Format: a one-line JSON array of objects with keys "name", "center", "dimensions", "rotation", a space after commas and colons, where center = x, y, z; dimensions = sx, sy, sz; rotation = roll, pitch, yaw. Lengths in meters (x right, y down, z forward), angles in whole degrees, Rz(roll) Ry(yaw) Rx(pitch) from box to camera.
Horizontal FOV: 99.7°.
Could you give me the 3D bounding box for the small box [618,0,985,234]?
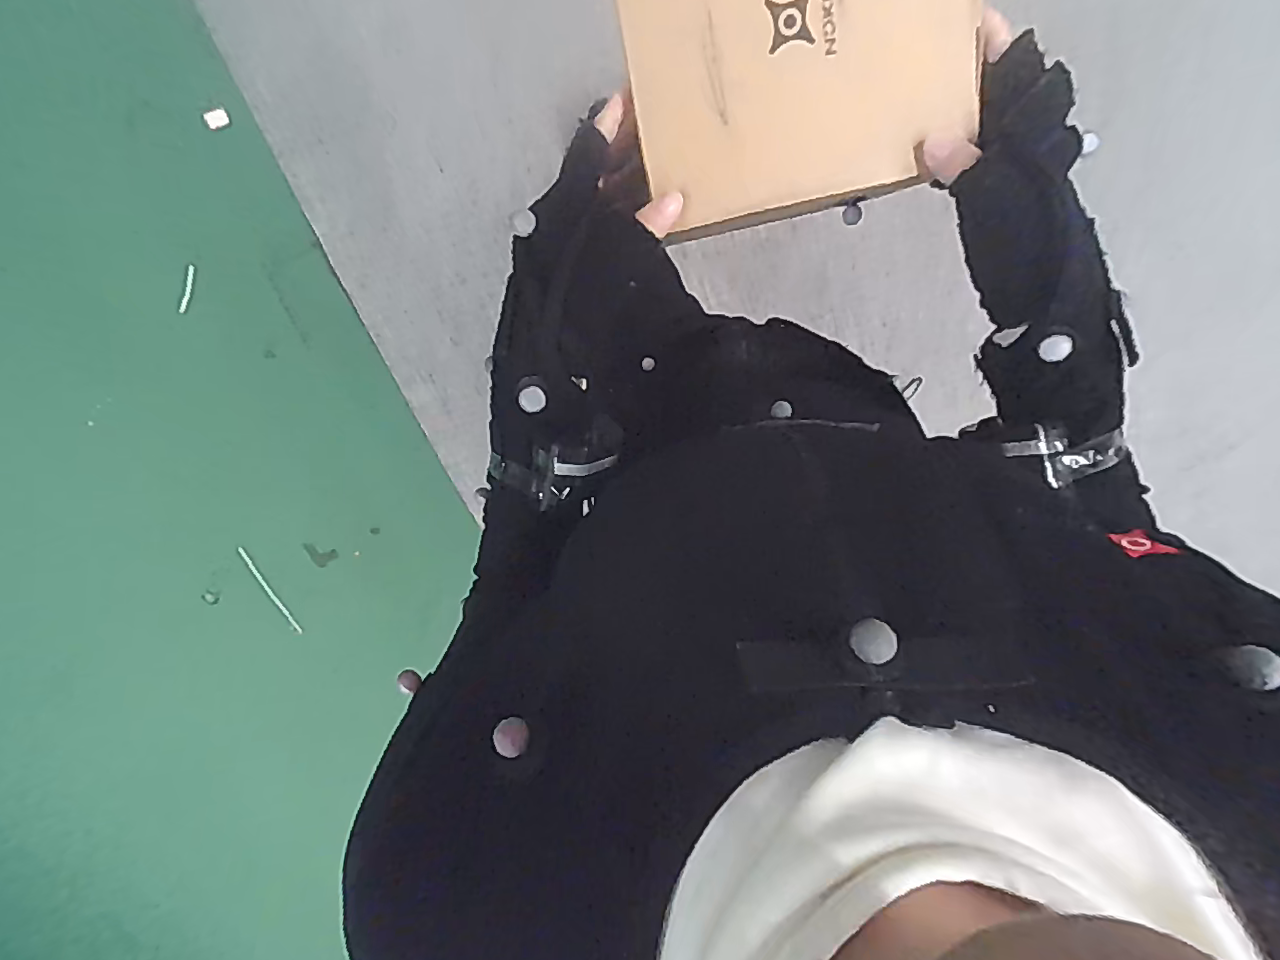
[{"name": "small box", "center": [0.083, -0.265, 0.342], "dimensions": [0.179, 0.176, 0.168], "rotation": [-10, 109, 8]}]
